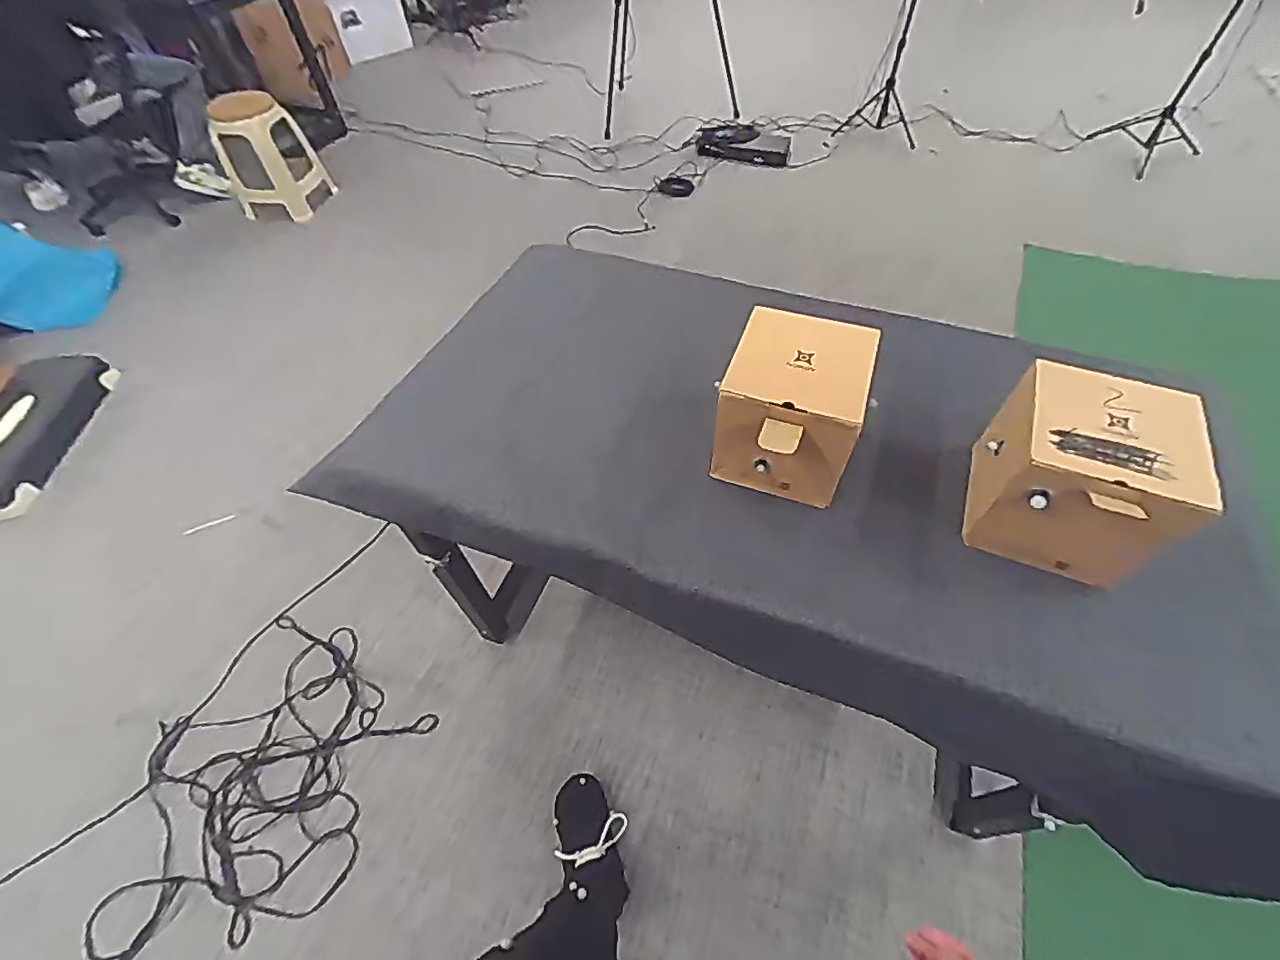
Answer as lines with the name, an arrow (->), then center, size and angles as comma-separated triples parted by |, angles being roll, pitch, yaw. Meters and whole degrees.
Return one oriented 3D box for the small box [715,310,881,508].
small box -> 0.203, -0.093, 0.725 | 0.168, 0.176, 0.179 | 16, 56, 14
